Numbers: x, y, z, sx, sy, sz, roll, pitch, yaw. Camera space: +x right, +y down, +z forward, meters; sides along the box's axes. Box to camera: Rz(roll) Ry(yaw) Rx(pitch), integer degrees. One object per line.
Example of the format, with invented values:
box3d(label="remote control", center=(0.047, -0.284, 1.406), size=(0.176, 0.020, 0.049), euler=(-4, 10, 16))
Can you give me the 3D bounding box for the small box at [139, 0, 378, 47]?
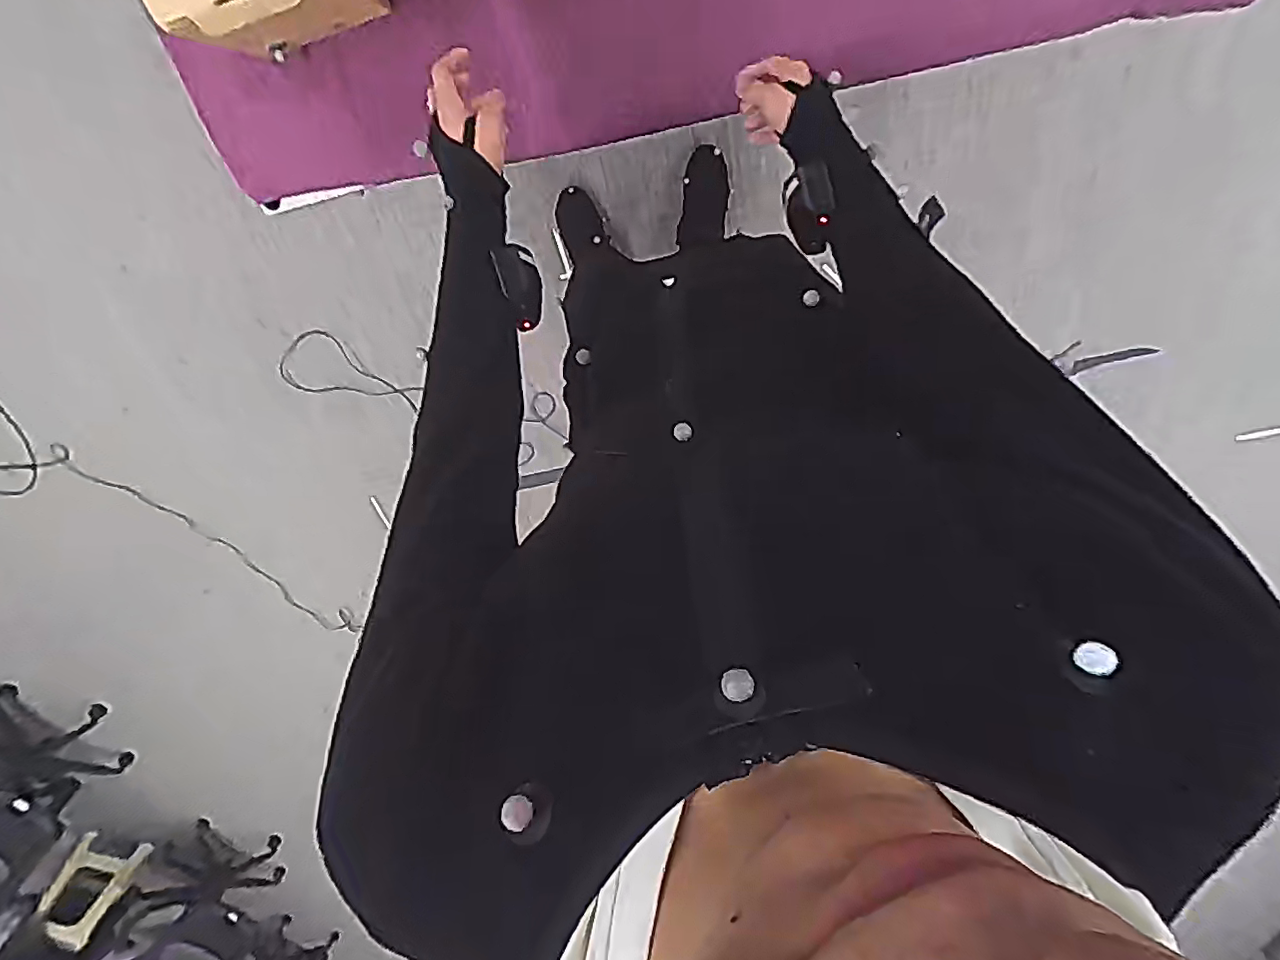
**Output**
box3d(label="small box", center=(-0.384, -0.540, 0.507), size=(0.168, 0.176, 0.179), euler=(-14, 119, 7))
